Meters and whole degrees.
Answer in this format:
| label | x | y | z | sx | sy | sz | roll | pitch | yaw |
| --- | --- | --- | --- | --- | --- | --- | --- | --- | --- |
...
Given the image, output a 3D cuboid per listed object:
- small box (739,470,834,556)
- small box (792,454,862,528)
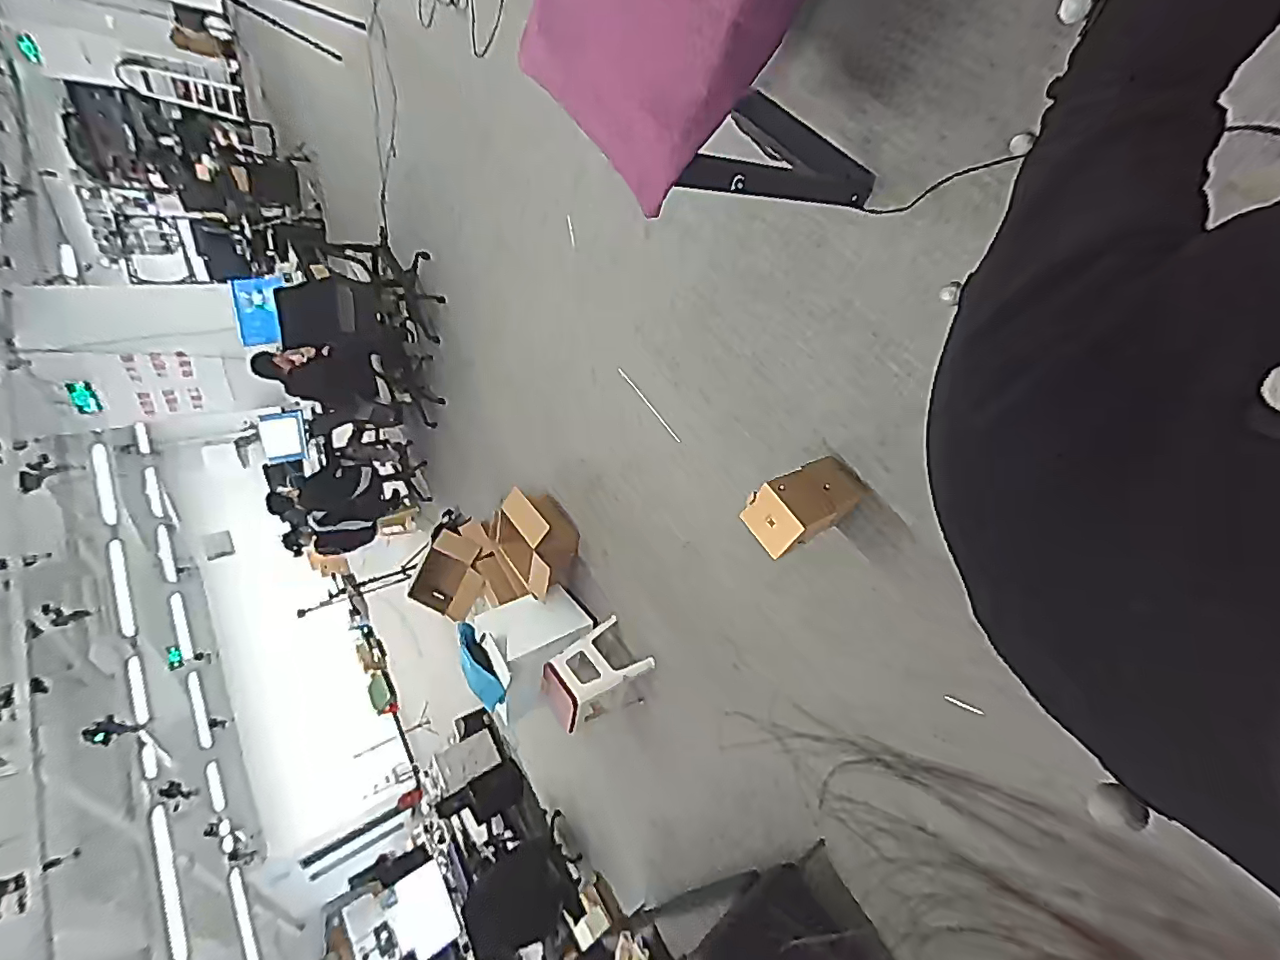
| label | x | y | z | sx | sy | sz | roll | pitch | yaw |
| --- | --- | --- | --- | --- | --- | --- | --- | --- | --- |
| small box | 0.436 | 0.091 | 1.600 | 0.179 | 0.176 | 0.168 | 54 | 139 | 25 |
| small box | 0.557 | 0.044 | 1.700 | 0.168 | 0.176 | 0.179 | 54 | 140 | 25 |
